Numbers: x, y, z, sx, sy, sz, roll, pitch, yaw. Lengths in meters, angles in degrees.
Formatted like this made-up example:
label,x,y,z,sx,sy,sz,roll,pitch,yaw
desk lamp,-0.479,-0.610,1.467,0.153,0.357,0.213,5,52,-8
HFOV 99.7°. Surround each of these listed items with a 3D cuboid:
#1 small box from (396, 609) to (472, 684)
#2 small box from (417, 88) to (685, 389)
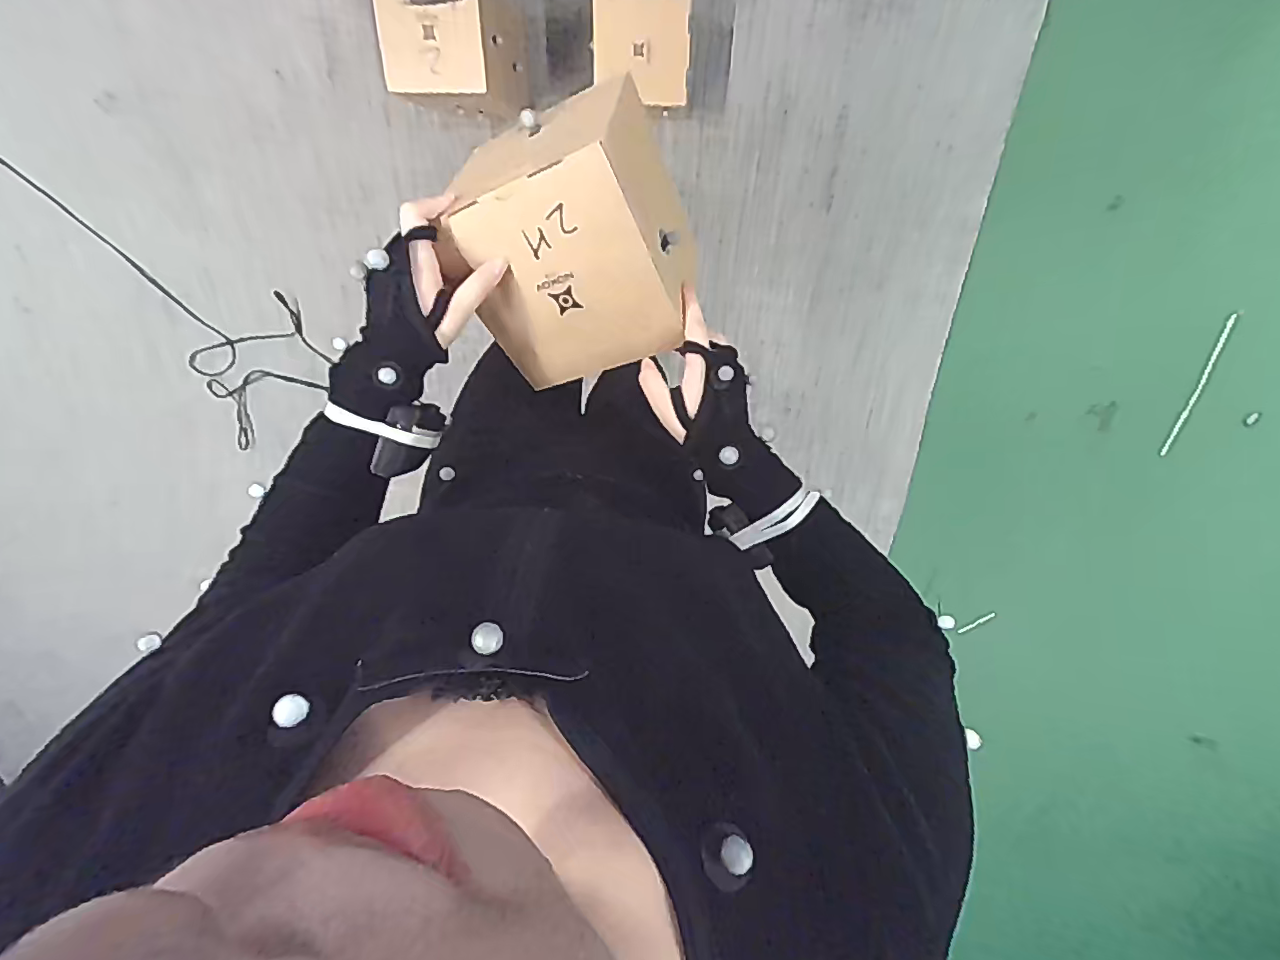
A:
label,x,y,z,sx,sy,sz,roll,pitch,yaw
small box,-0.654,0.533,1.743,0.179,0.176,0.168,1,115,3
small box,-0.063,-0.219,0.509,0.168,0.176,0.179,-11,137,22
